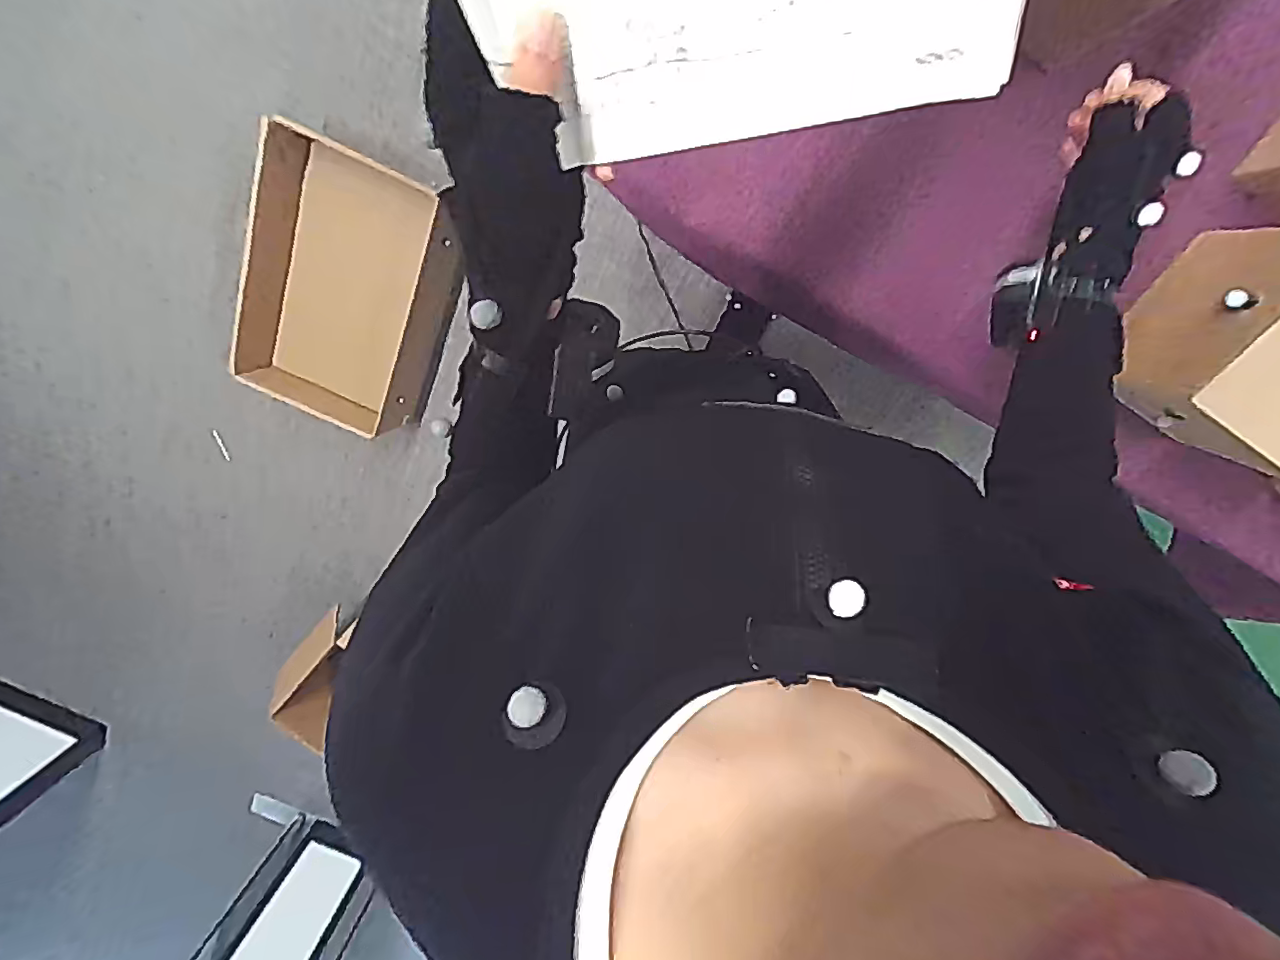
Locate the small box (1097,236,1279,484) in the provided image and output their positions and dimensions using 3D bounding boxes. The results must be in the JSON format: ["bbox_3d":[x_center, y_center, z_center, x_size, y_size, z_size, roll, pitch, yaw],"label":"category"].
[{"bbox_3d":[0.619,-0.121,0.542,0.168,0.176,0.179,32,112,-6],"label":"small box"}]

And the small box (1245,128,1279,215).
[{"bbox_3d":[0.711,-0.307,0.456,0.168,0.176,0.179,30,112,-6],"label":"small box"}]
